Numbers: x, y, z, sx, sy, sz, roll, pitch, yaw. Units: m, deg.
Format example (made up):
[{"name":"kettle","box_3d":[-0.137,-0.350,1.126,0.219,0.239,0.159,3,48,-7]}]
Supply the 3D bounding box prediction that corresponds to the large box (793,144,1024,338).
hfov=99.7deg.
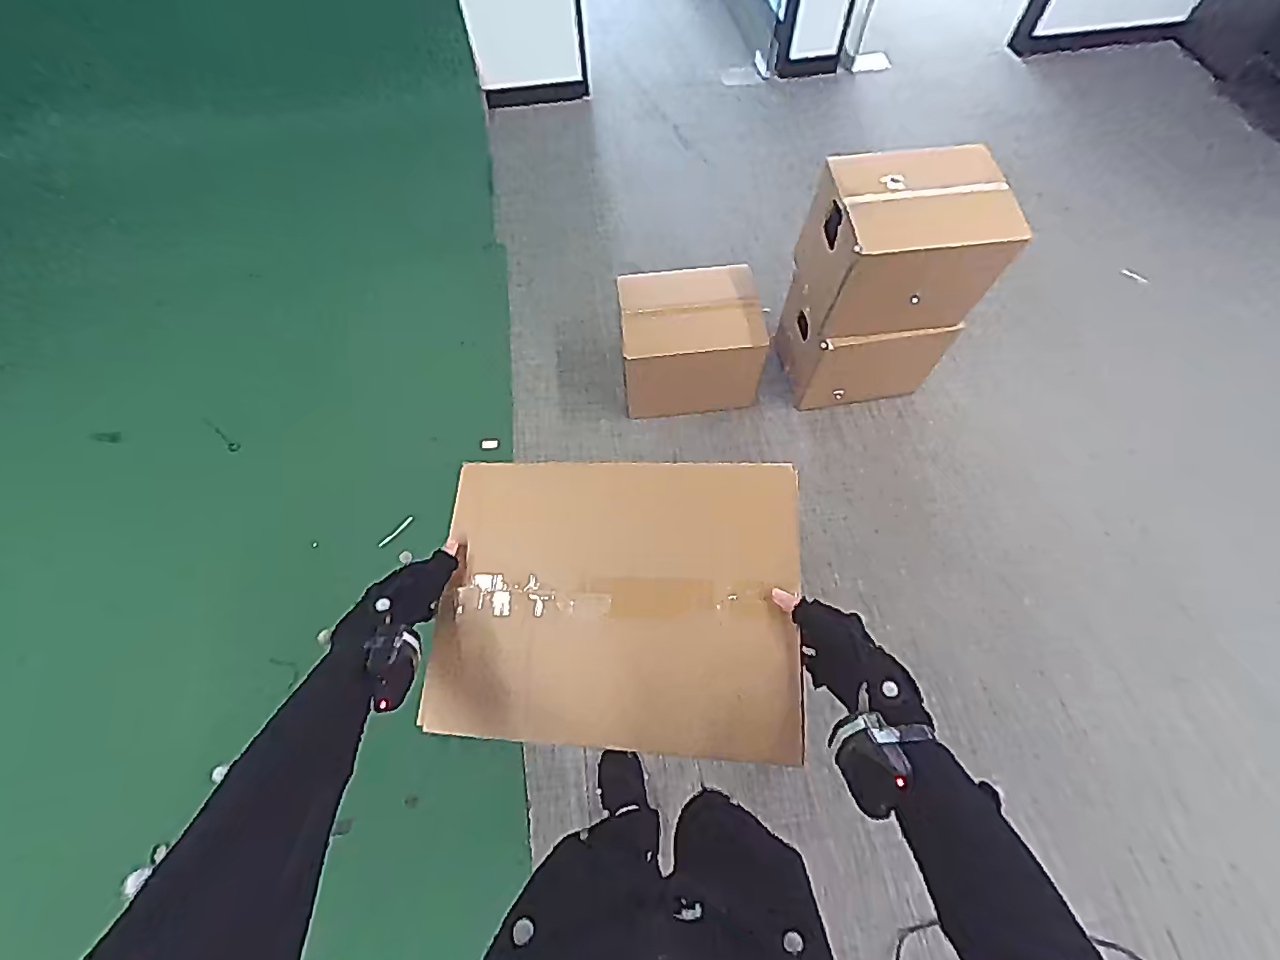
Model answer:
[{"name":"large box","box_3d":[0.659,-0.605,1.405,0.408,0.320,0.320,-7,68,-2]}]
